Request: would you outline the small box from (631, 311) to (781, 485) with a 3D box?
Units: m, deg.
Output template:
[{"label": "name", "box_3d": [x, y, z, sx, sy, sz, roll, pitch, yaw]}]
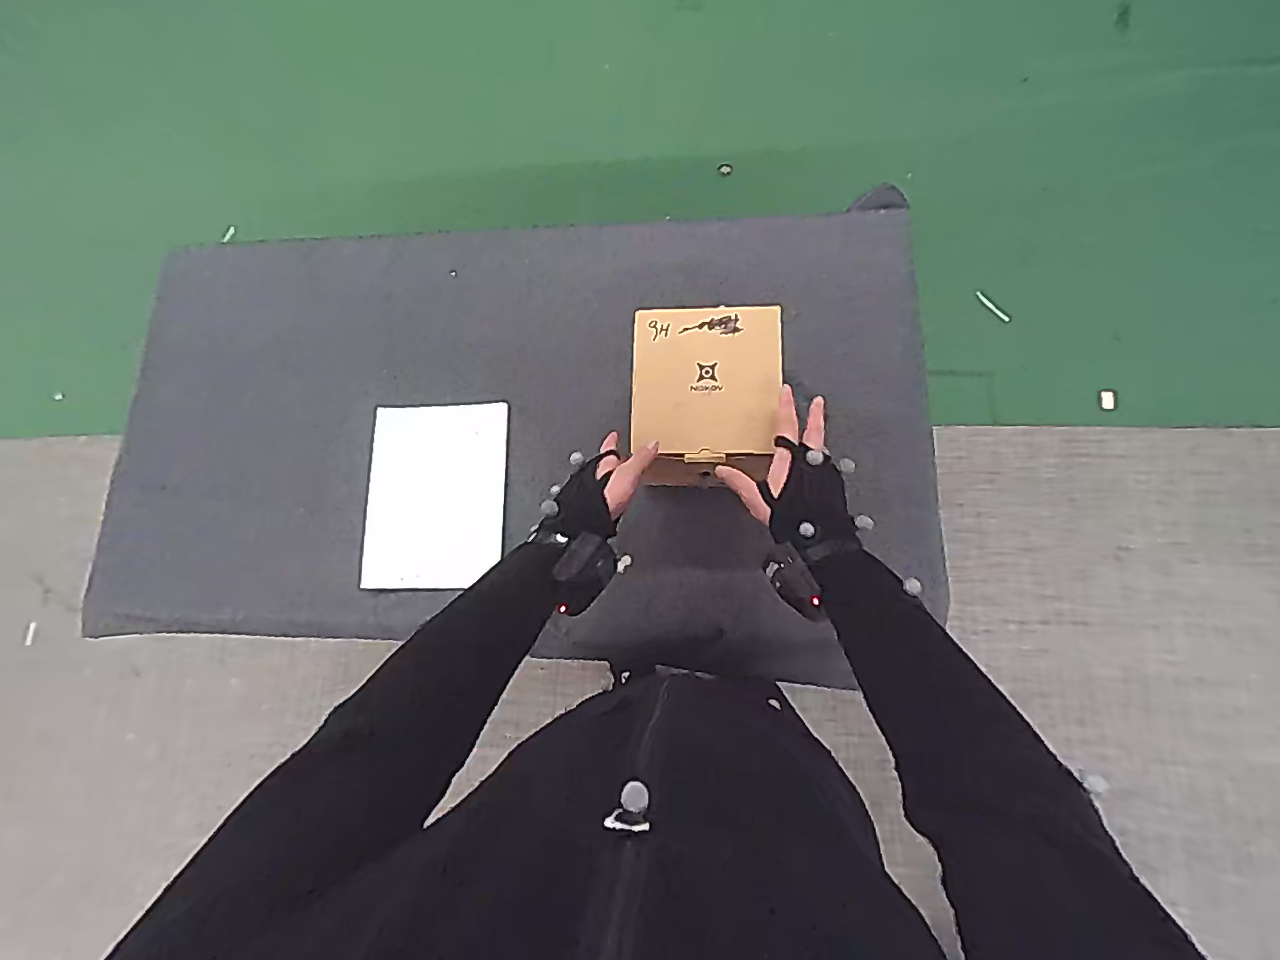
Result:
[{"label": "small box", "box_3d": [0.083, -0.090, 0.676, 0.168, 0.176, 0.179, 0, 80, 6]}]
